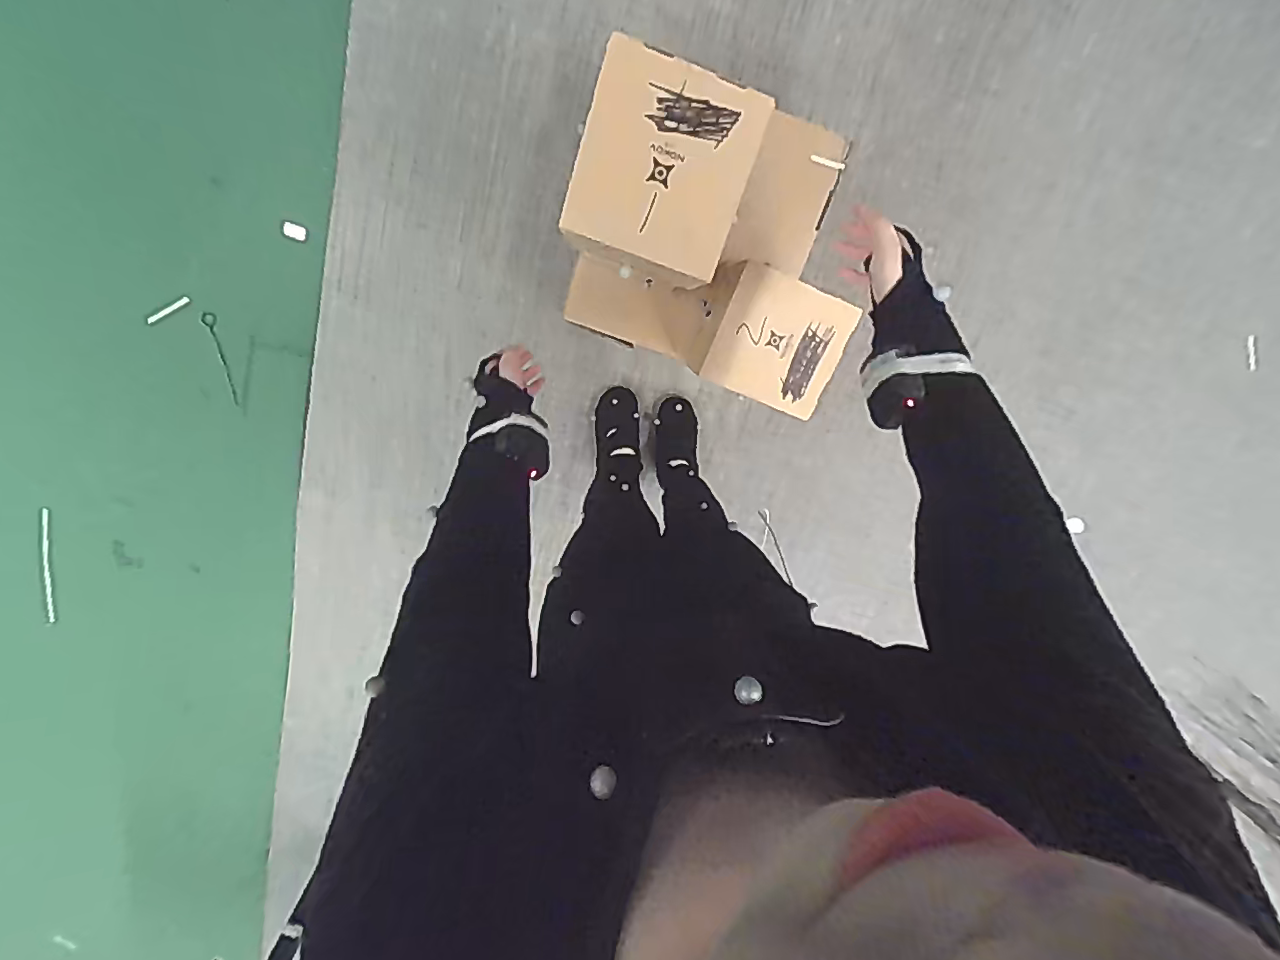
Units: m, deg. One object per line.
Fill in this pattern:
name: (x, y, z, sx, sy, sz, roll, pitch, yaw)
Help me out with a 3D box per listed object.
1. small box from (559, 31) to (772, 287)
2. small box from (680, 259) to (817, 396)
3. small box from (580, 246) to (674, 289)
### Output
small box: (0.019, -0.329, 0.598, 0.168, 0.176, 0.179, 18, 106, -7)
small box: (0.180, -0.267, 0.961, 0.168, 0.176, 0.179, 19, 104, -7)
small box: (0.008, -0.434, 0.908, 0.168, 0.176, 0.179, 18, 104, -7)
